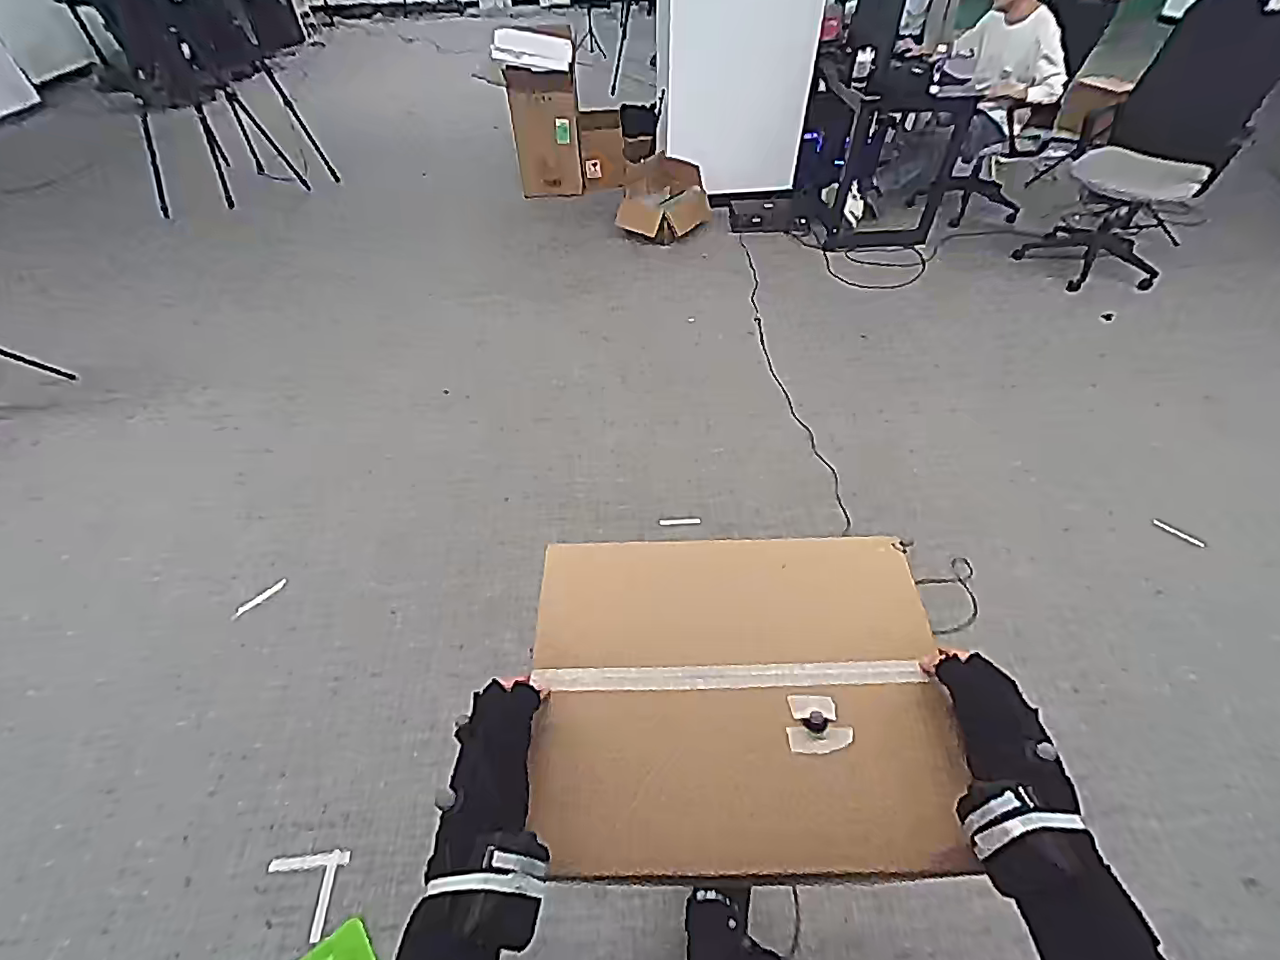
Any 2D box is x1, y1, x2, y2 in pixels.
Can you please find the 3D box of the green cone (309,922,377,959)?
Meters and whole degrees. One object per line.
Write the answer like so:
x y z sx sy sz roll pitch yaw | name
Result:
-0.609 0.909 0.918 0.202 0.368 0.200 -34 55 -24 | green cone

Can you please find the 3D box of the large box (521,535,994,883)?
0.097 0.284 0.655 0.408 0.320 0.320 -2 52 1 | large box
